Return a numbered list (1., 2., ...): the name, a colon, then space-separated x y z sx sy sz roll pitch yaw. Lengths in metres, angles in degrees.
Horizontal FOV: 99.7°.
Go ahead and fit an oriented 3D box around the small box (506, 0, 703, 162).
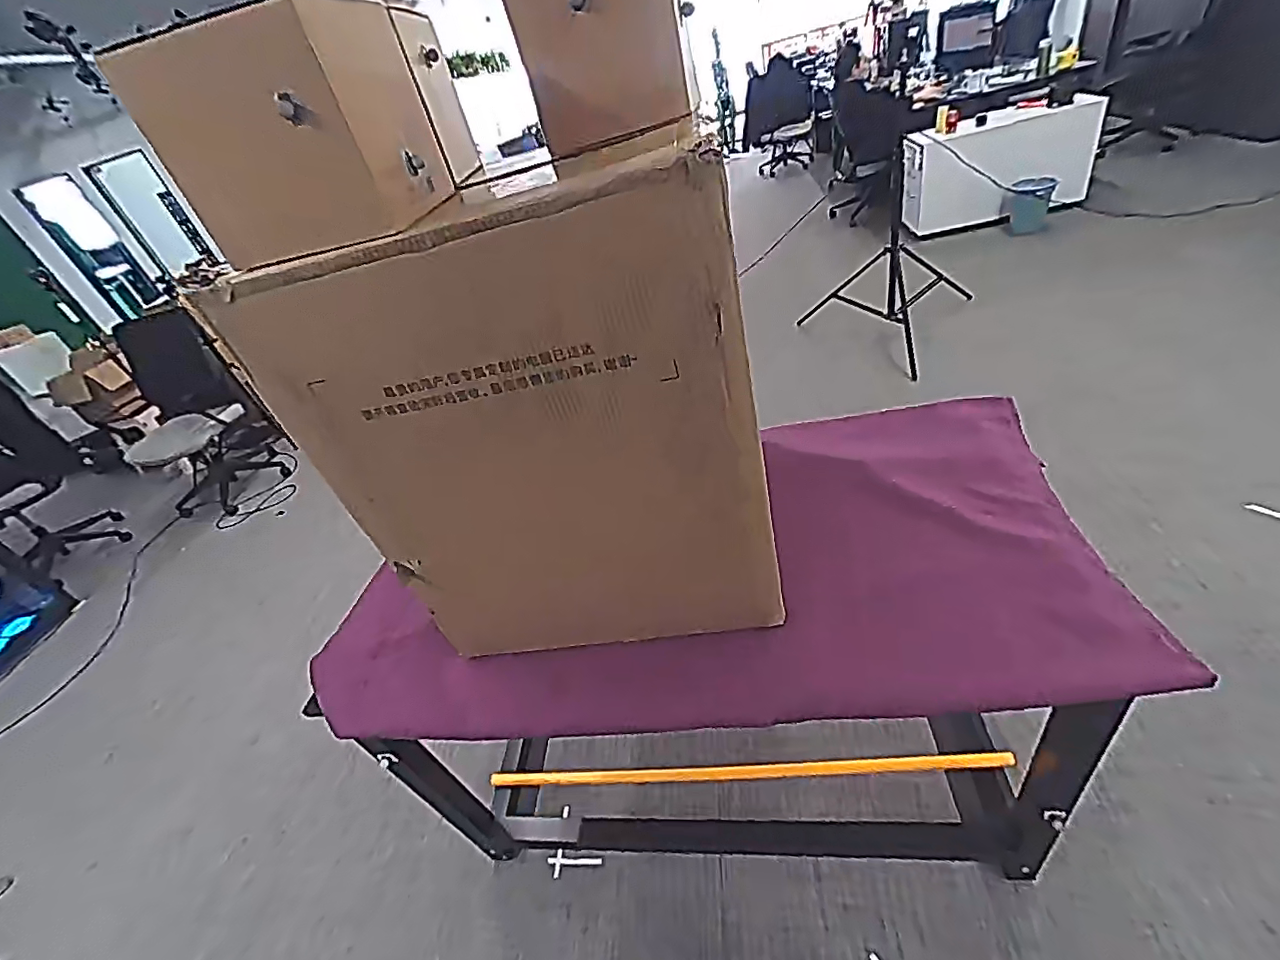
1. small box: -0.026 -0.498 0.630 0.179 0.176 0.168 -6 38 16
